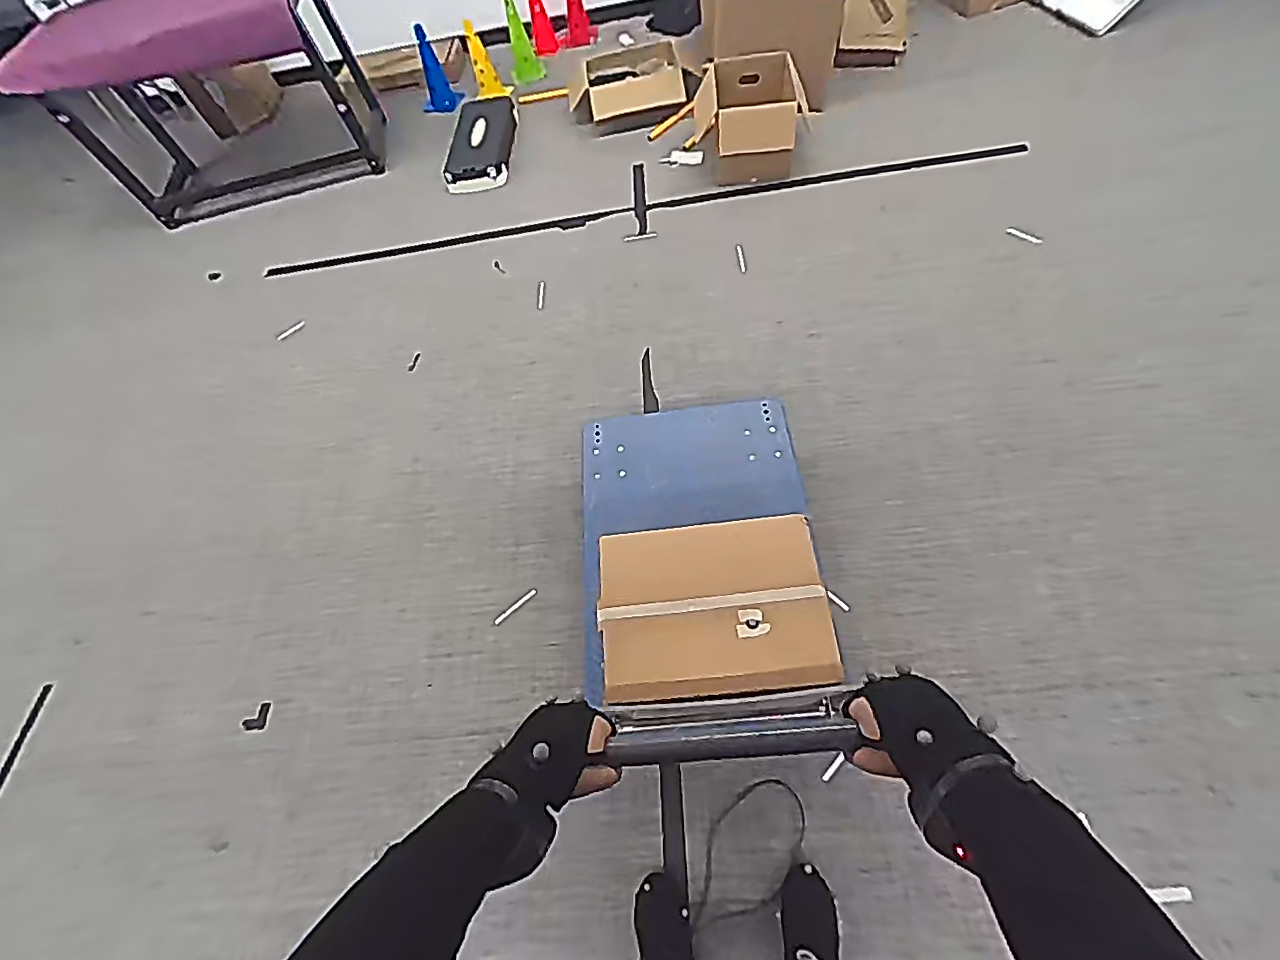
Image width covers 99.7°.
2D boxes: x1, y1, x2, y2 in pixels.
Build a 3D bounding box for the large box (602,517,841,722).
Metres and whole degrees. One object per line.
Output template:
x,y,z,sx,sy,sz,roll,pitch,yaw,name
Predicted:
0.149,0.303,1.126,0.408,0.320,0.320,-7,61,3,large box
